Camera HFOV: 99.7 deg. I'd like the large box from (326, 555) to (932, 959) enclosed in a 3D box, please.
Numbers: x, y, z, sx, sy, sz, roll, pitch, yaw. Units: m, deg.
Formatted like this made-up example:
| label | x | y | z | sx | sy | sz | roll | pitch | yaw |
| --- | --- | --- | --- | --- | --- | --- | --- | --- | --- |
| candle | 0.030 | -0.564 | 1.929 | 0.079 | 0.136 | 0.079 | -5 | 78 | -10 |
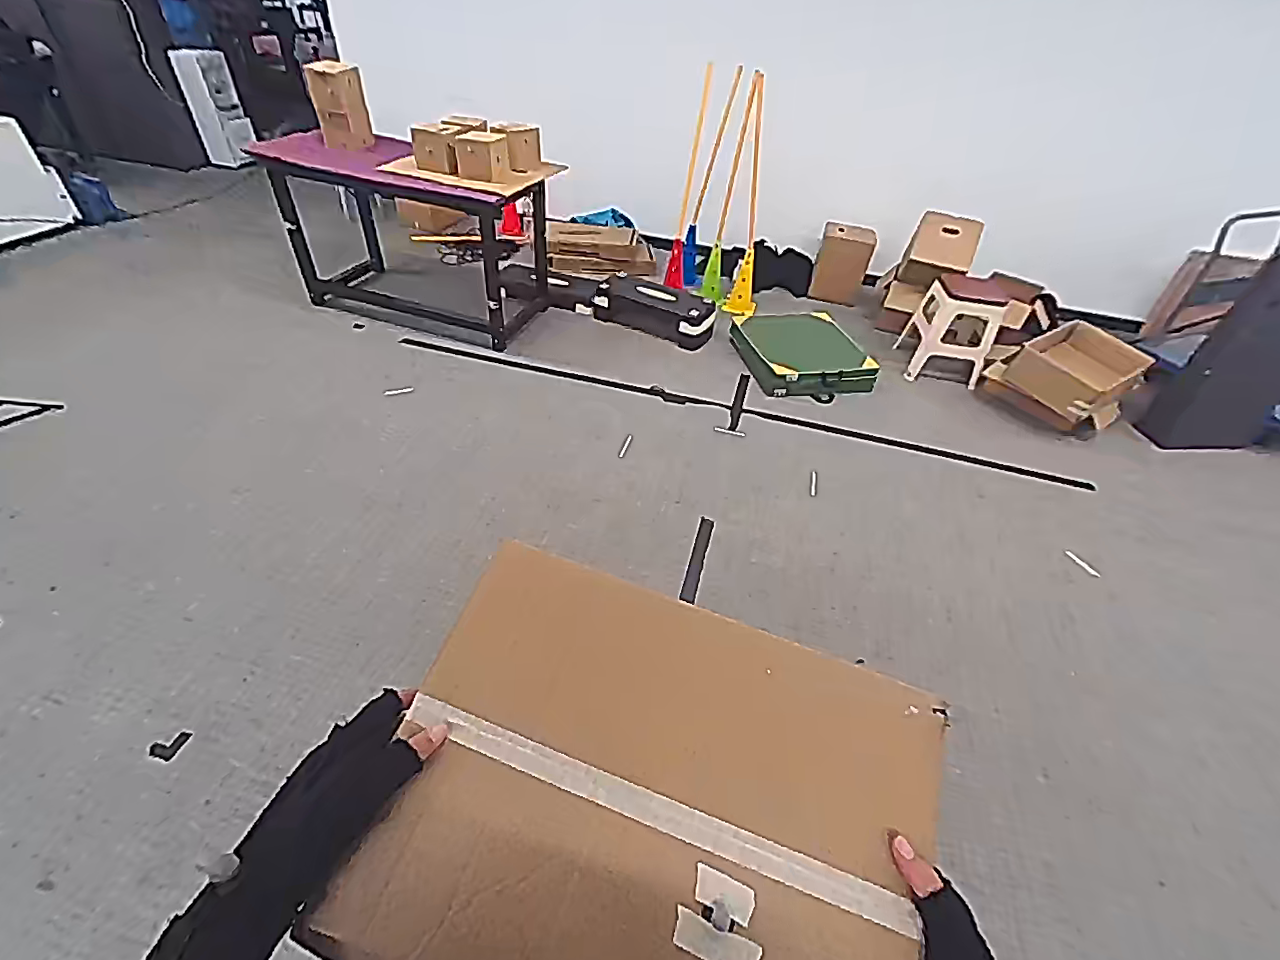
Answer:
| label | x | y | z | sx | sy | sz | roll | pitch | yaw |
| --- | --- | --- | --- | --- | --- | --- | --- | --- | --- |
| large box | 0.008 | 0.326 | 0.550 | 0.408 | 0.320 | 0.320 | 19 | 62 | 9 |
